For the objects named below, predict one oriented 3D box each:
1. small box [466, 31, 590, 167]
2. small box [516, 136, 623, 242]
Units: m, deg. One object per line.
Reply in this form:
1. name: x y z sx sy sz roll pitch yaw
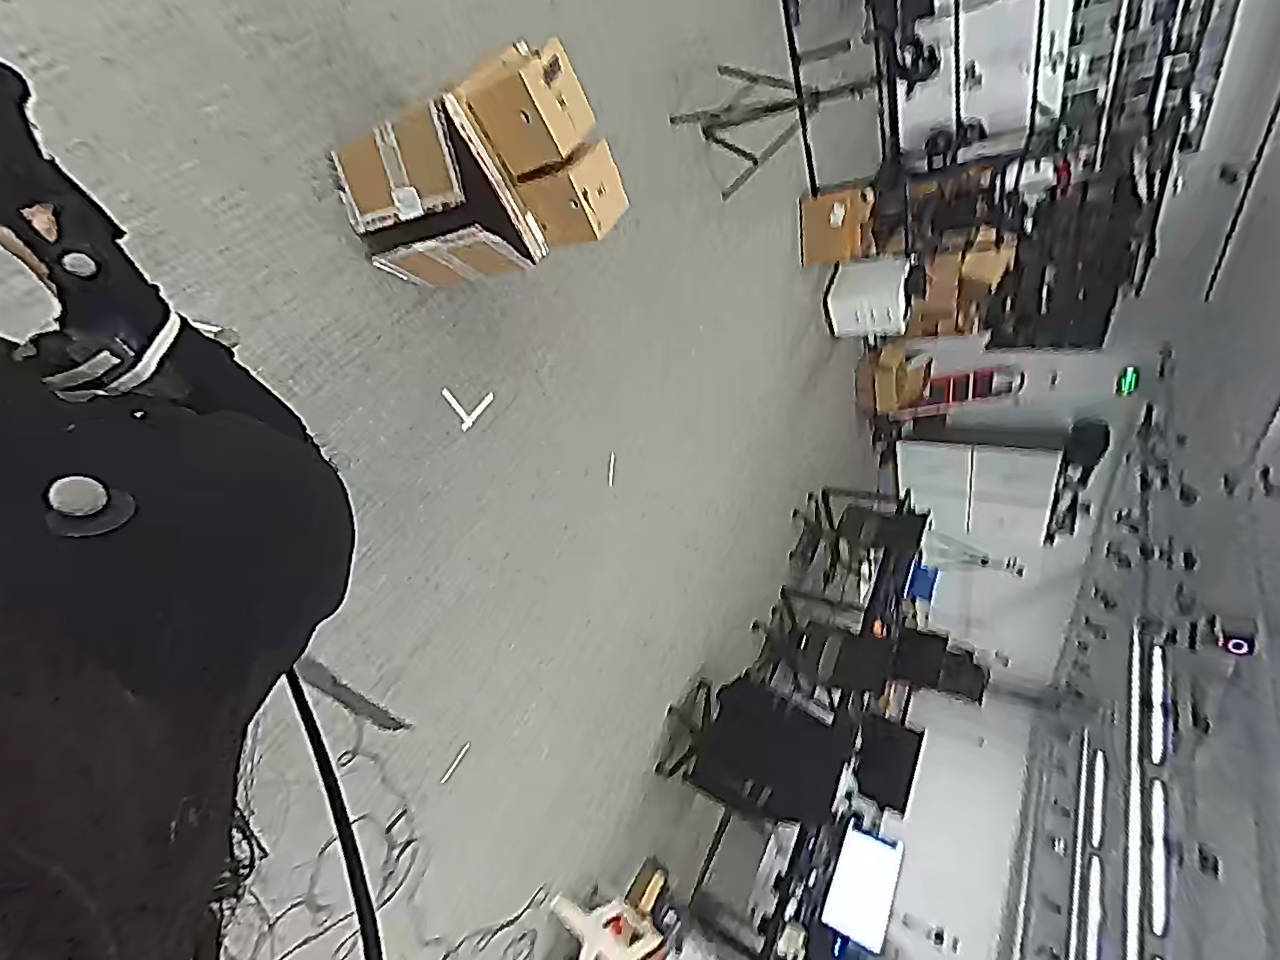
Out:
1. small box: -0.249 -0.837 1.202 0.179 0.176 0.168 55 52 -44
2. small box: -0.174 -0.715 1.338 0.179 0.176 0.168 -61 143 -29
